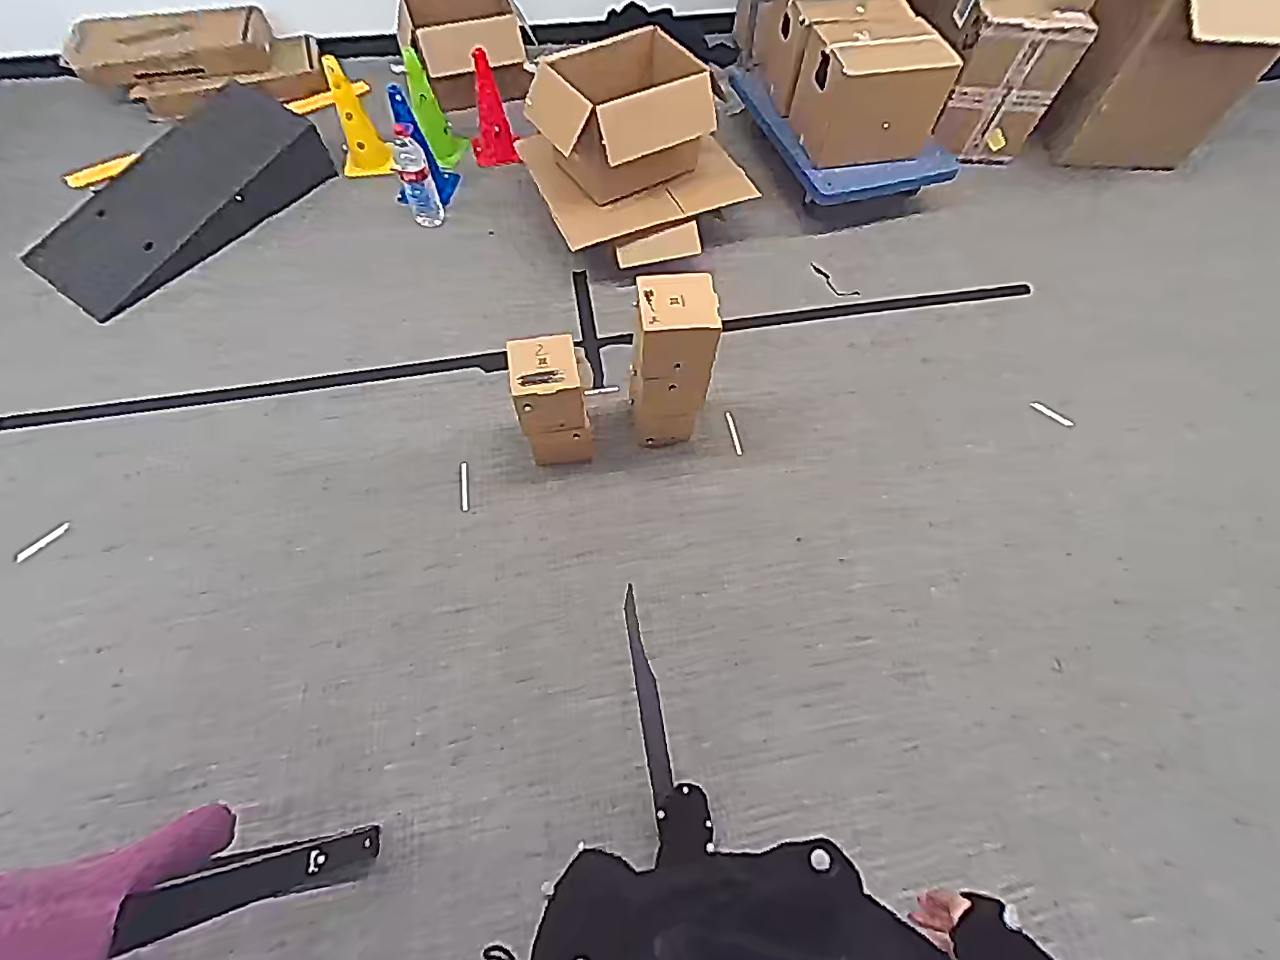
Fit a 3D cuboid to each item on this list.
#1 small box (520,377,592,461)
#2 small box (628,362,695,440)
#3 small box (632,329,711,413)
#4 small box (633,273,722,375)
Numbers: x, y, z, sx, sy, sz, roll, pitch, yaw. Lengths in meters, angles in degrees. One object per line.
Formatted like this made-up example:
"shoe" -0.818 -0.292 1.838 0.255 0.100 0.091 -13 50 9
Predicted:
"small box" -0.234 -0.166 1.526 0.179 0.176 0.168 -7 63 -6
"small box" 0.060 -0.230 1.568 0.168 0.176 0.179 -8 63 -7
"small box" 0.074 -0.290 1.415 0.179 0.176 0.168 -6 64 -6
"small box" 0.081 -0.361 1.267 0.179 0.176 0.168 -3 63 -5
